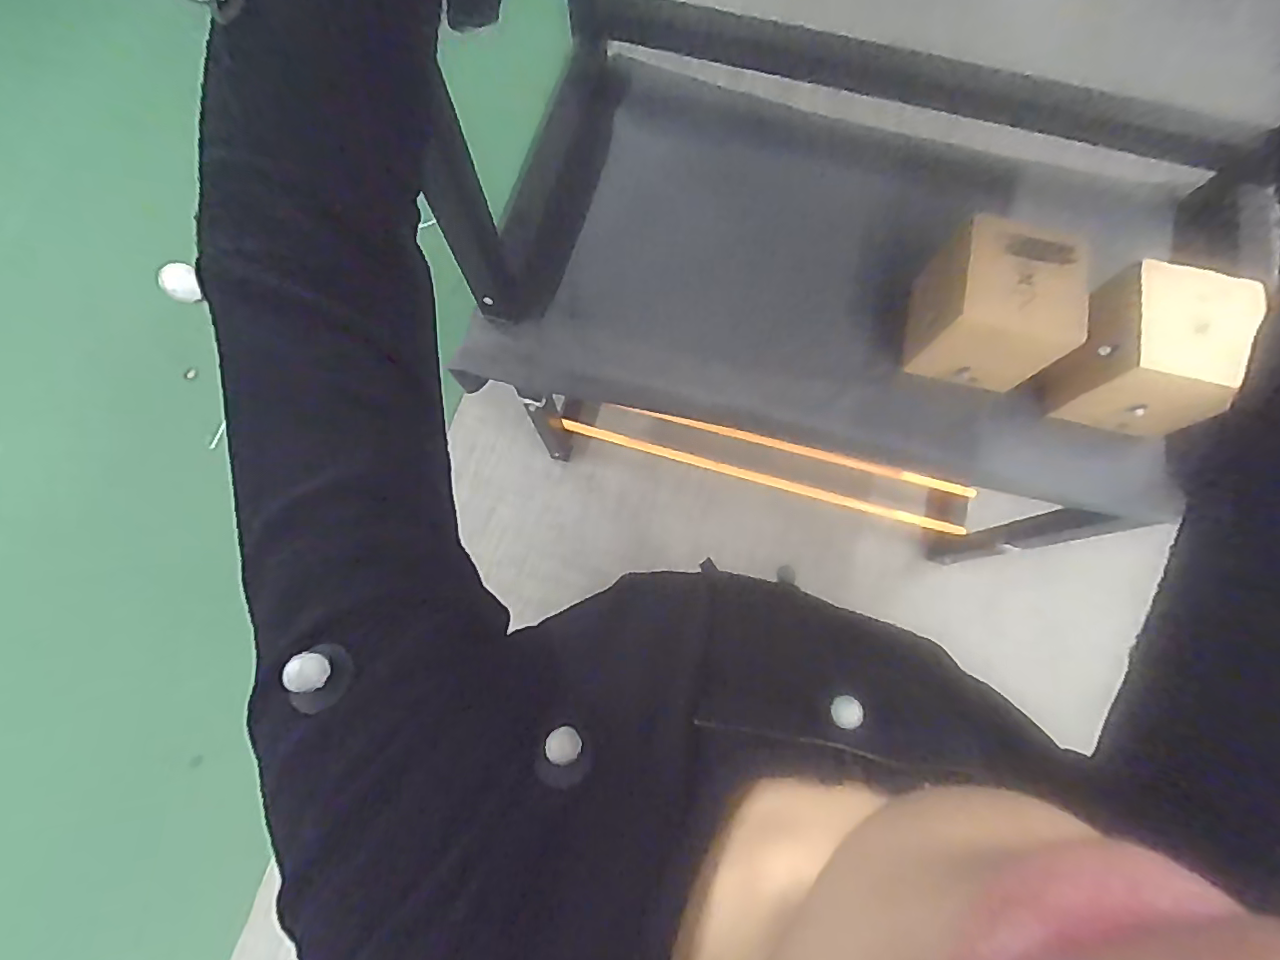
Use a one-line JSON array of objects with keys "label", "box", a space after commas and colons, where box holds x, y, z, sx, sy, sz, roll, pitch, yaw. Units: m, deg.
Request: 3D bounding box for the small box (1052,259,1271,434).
[{"label": "small box", "box": [0.749, -0.185, 0.797, 0.168, 0.176, 0.179, 13, 74, 3]}]
